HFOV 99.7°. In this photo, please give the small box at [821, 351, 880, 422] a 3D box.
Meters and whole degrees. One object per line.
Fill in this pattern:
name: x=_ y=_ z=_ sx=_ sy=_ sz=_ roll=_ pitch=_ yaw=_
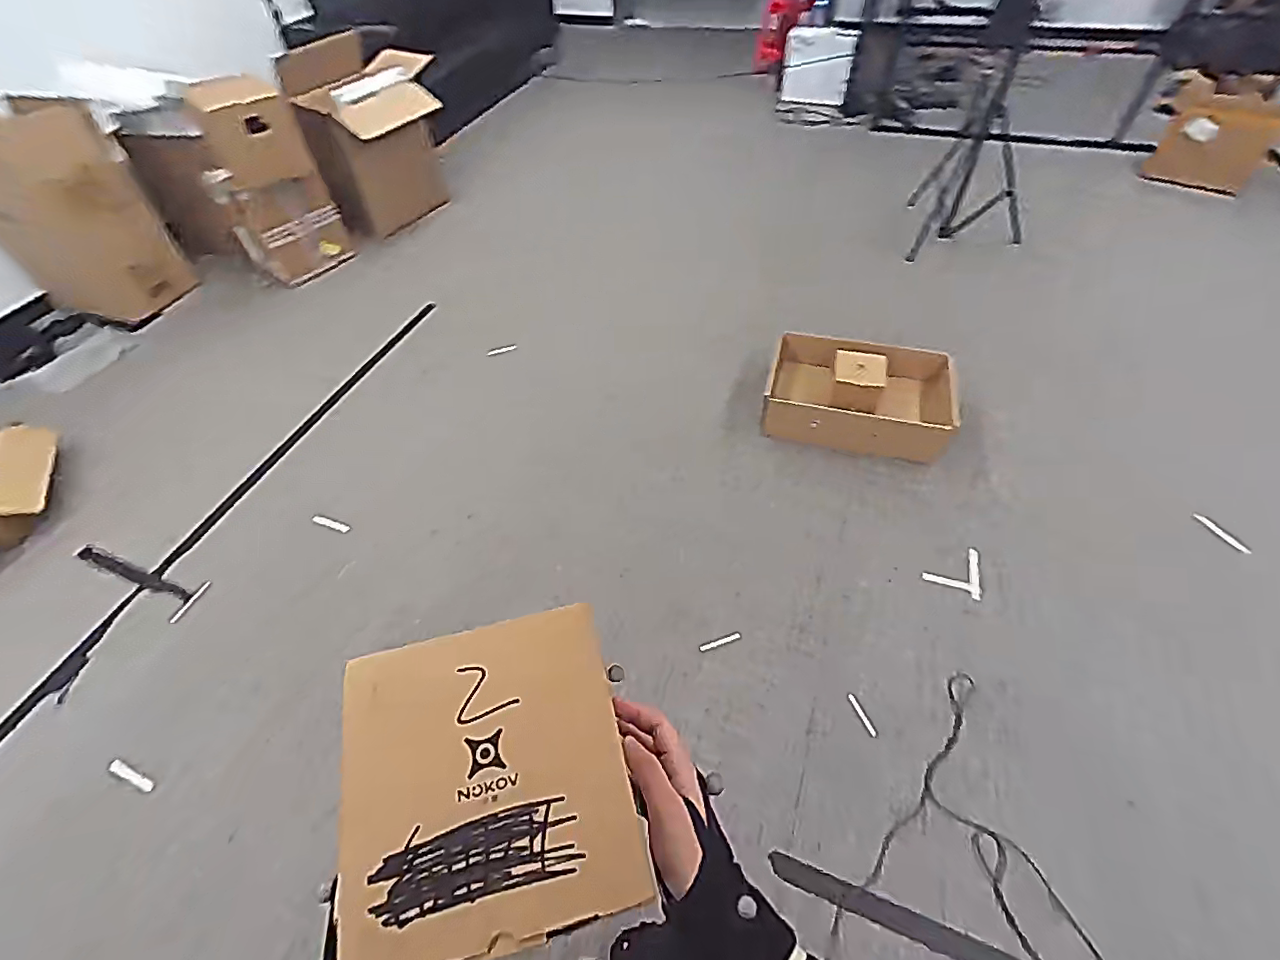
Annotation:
small box: x=0.763 y=-0.339 z=1.965 sx=0.168 sy=0.176 sz=0.179 roll=10 pitch=52 yaw=11
